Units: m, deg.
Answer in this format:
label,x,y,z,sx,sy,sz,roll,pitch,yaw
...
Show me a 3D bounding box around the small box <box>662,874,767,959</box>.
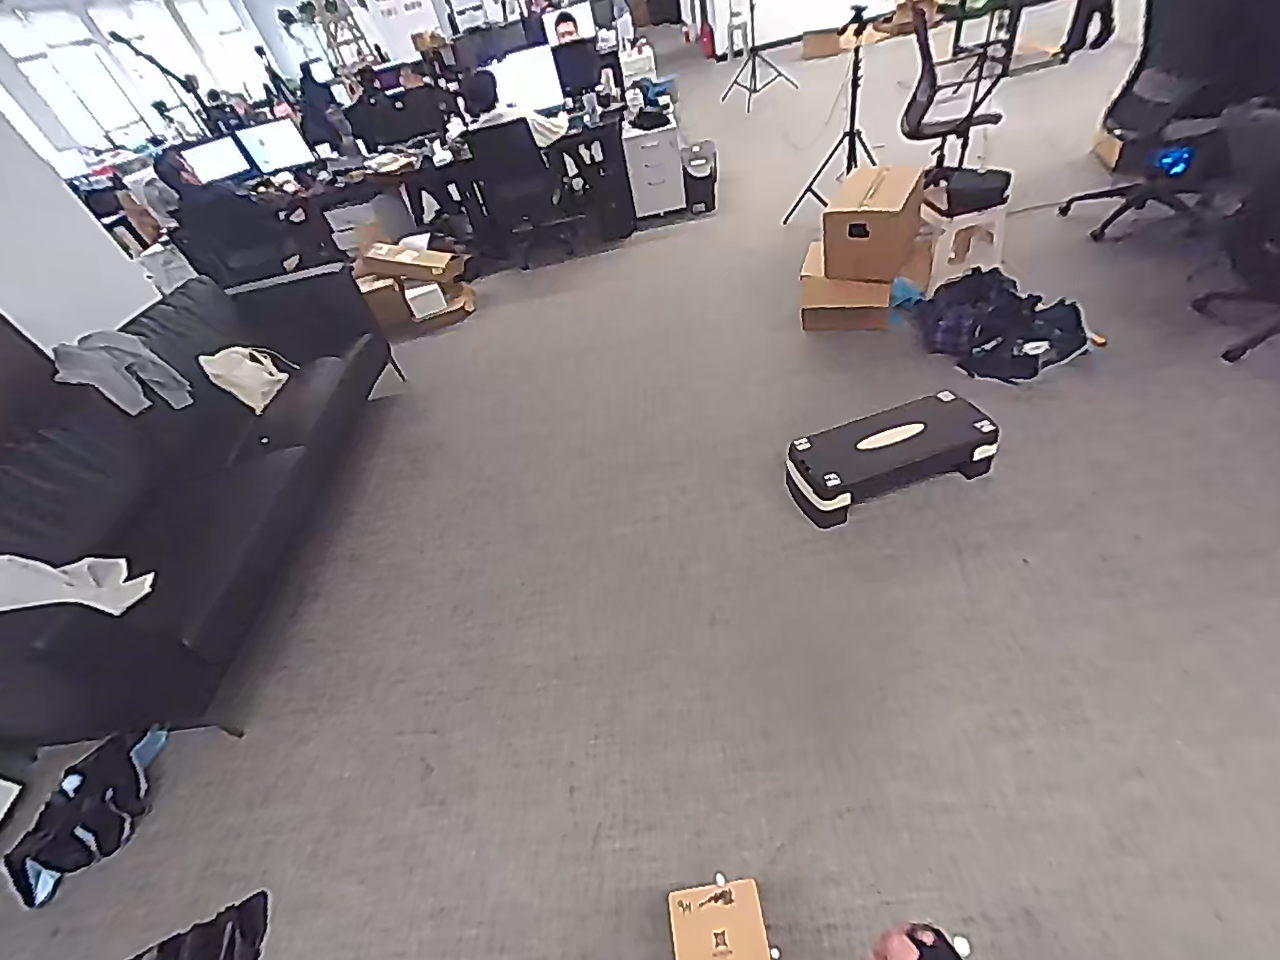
label,x,y,z,sx,sy,sz,roll,pitch,yaw
small box,0.144,0.861,1.004,0.168,0.176,0.179,-12,45,4
